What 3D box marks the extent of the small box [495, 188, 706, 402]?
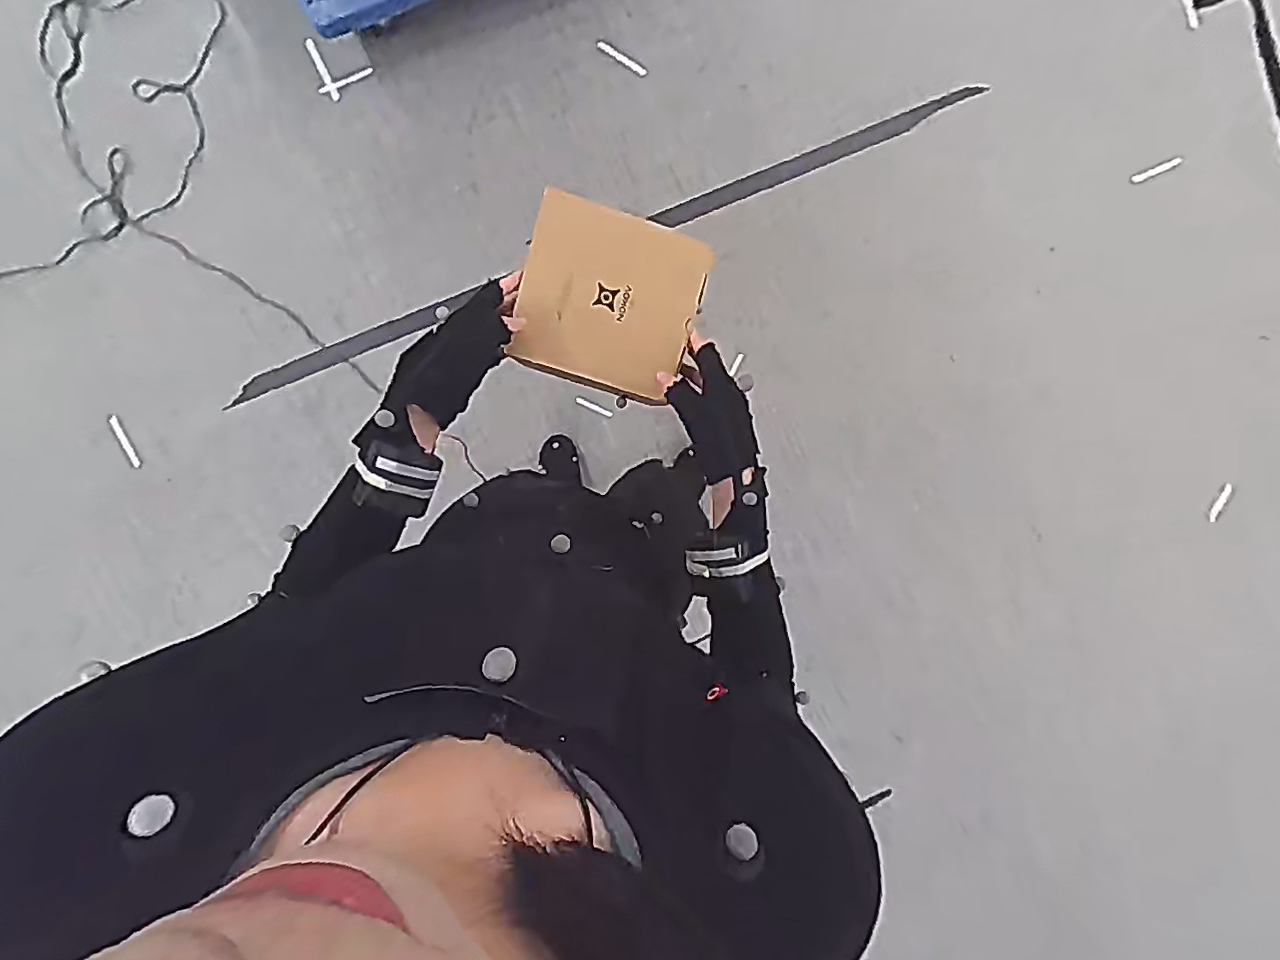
[{"bbox_3d":[-0.045,-0.189,0.610,0.179,0.176,0.168,15,94,-6],"label":"small box"}]
